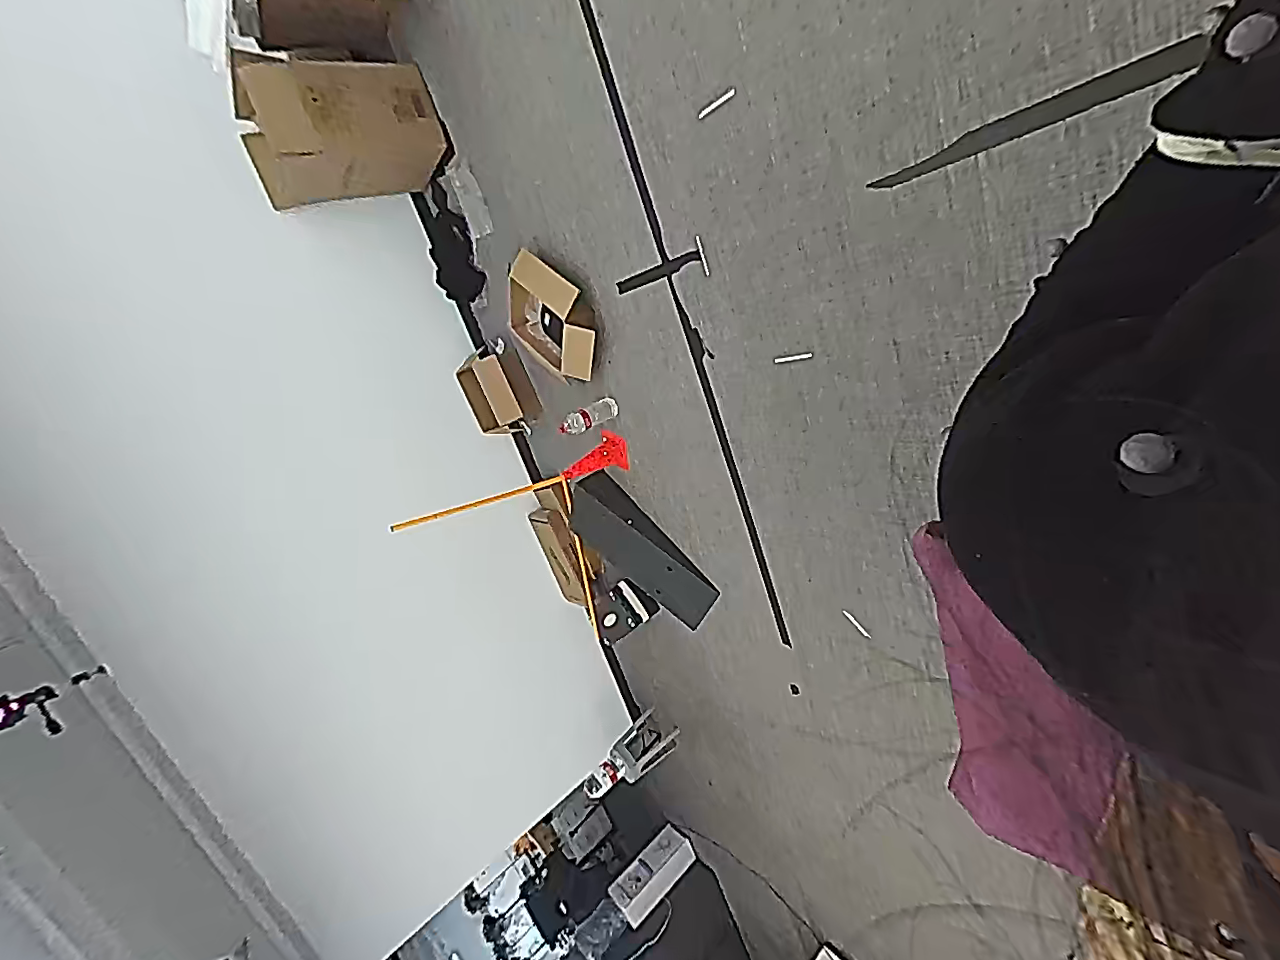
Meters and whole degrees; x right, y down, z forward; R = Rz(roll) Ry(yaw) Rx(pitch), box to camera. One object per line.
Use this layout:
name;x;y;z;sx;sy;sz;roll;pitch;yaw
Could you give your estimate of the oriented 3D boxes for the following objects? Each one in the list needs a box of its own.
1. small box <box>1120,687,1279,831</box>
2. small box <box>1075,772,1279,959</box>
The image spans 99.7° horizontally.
small box;0.701;0.389;0.643;0.168;0.176;0.179;8;121;52
small box;0.577;0.455;0.557;0.168;0.176;0.179;11;125;51
